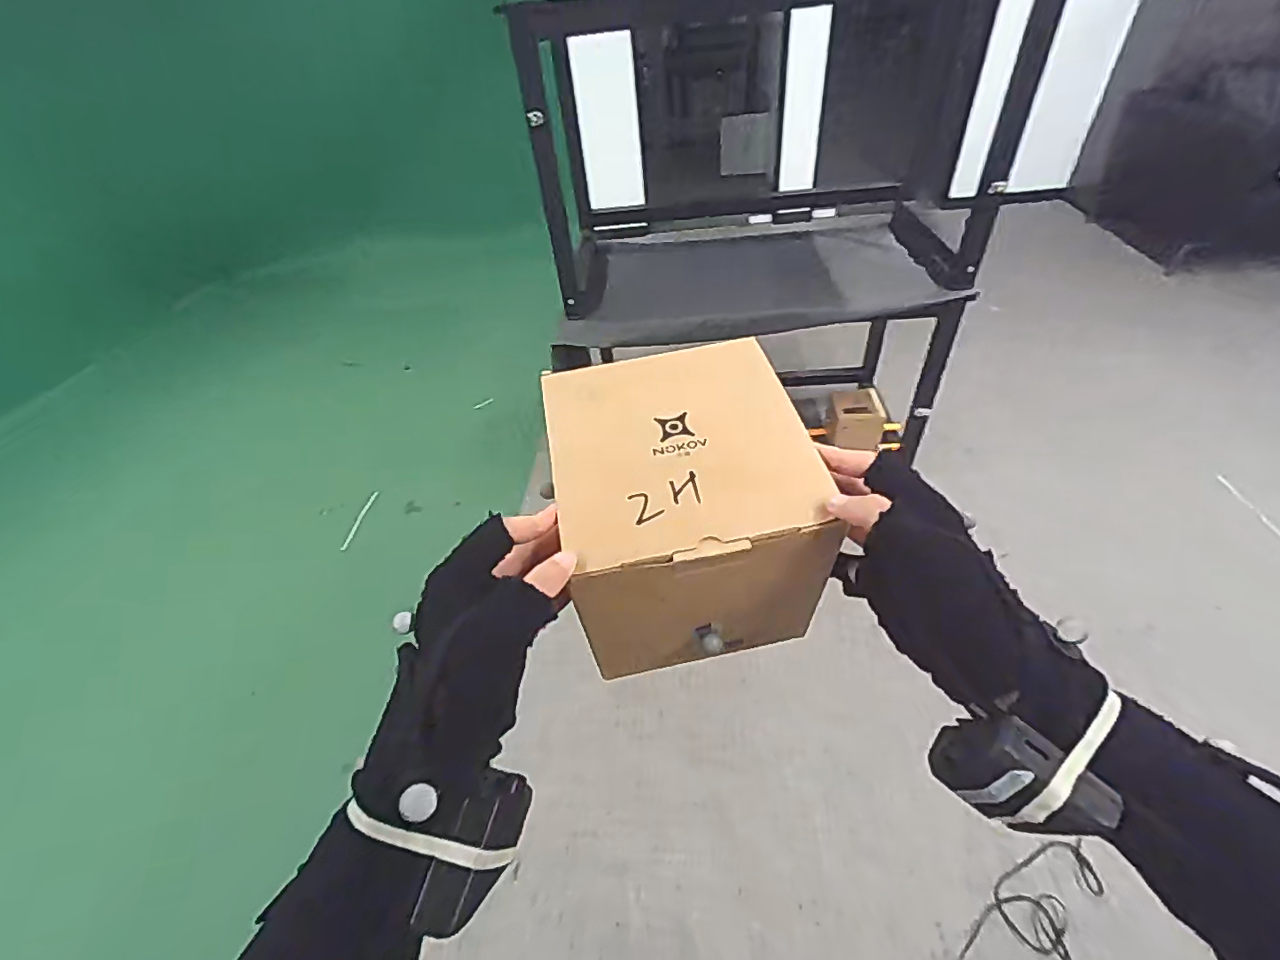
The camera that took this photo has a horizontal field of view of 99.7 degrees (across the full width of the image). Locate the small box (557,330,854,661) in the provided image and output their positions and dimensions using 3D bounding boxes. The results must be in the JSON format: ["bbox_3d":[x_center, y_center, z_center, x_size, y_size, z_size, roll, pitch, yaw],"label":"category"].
[{"bbox_3d":[0.035,0.013,0.418,0.168,0.176,0.179,-11,50,-3],"label":"small box"}]
